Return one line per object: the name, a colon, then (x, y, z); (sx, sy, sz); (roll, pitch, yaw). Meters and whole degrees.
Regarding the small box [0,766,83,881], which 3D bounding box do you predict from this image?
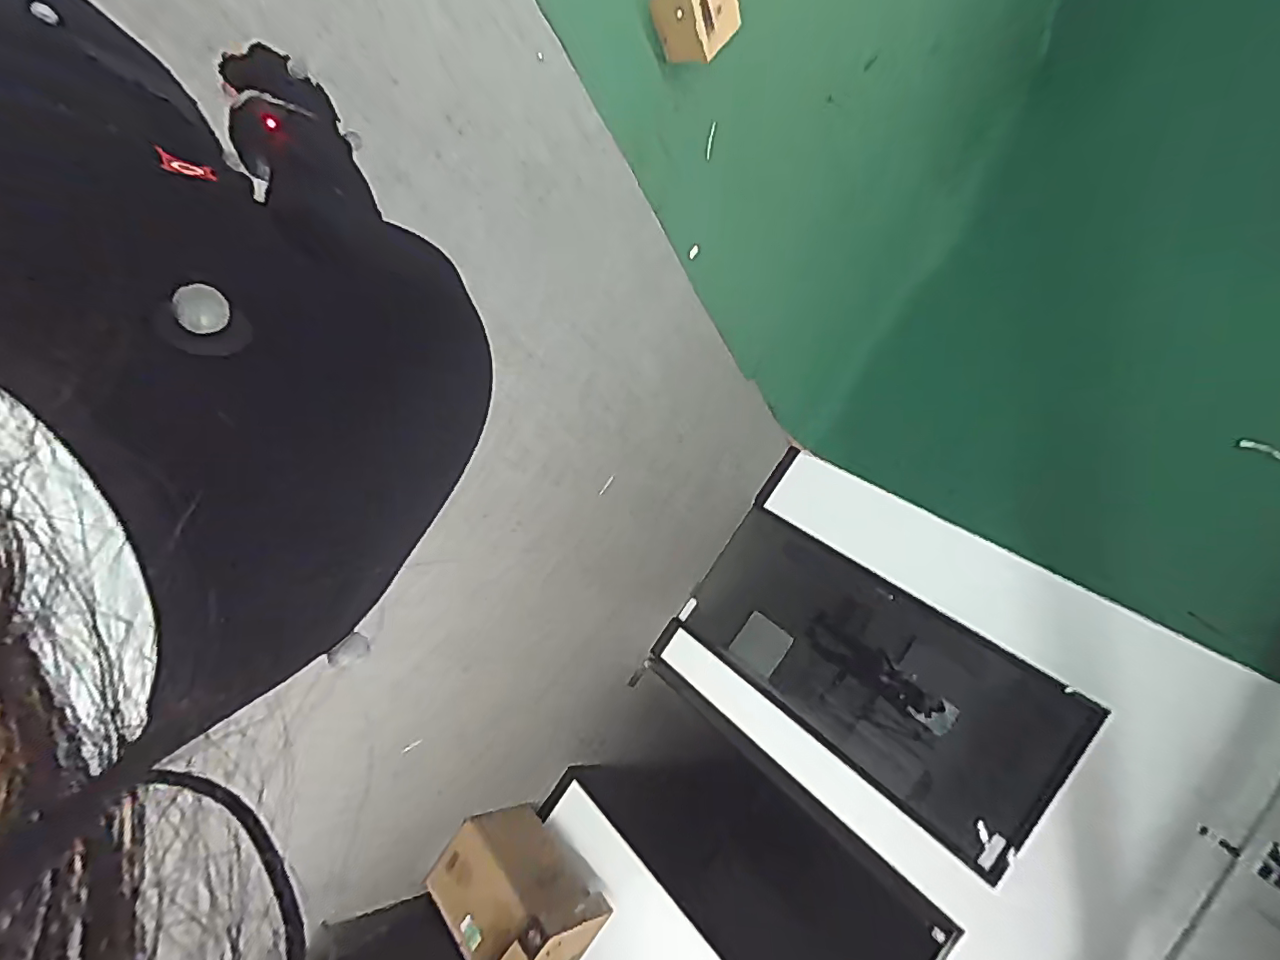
small box: (-1.515, 0.835, 1.313); (0.179, 0.176, 0.168); (-56, 146, -1)
